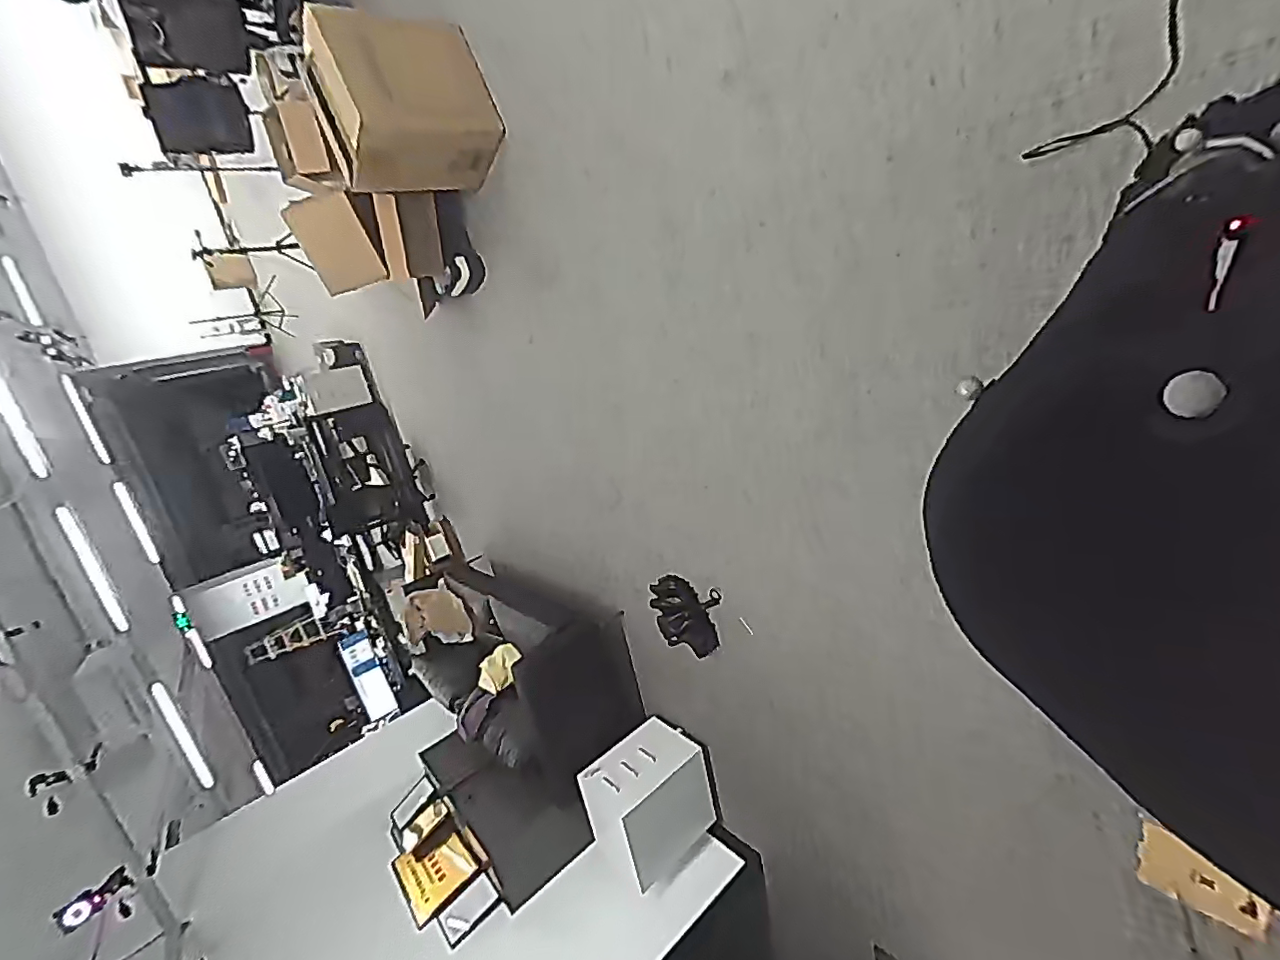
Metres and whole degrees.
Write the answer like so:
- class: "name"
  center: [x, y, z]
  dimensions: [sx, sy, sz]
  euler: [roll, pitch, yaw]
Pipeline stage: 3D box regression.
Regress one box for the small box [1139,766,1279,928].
- class: "small box"
  center: [1.137, 0.710, 1.075]
  dimensions: [0.179, 0.176, 0.168]
  euler: [12, 119, 50]
